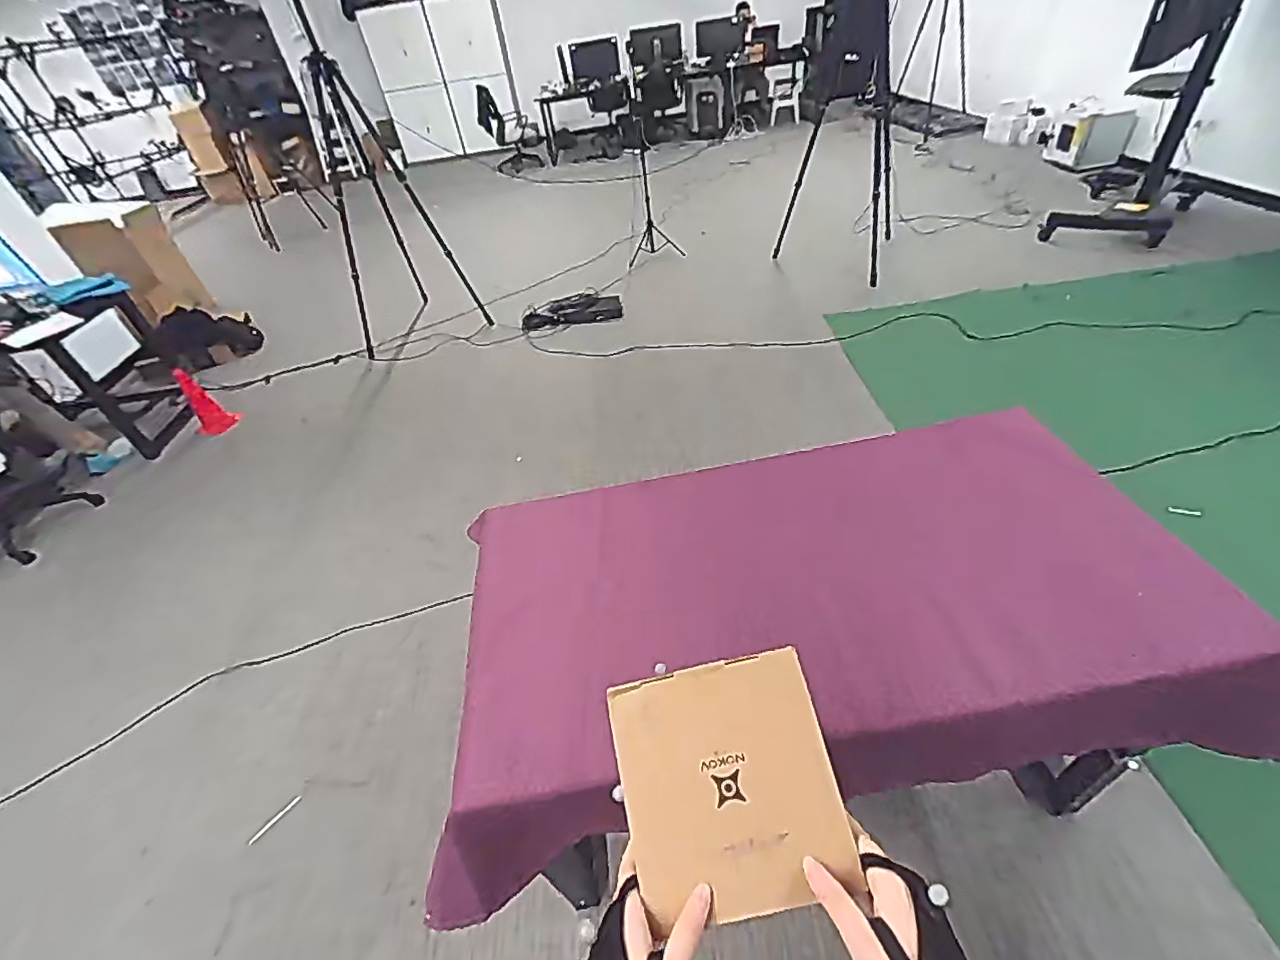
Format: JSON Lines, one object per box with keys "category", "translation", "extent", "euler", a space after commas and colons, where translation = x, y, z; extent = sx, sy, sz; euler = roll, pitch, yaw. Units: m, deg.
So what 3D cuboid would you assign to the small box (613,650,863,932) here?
{"category": "small box", "translation": [0.077, 0.269, 0.501], "extent": [0.168, 0.176, 0.179], "euler": [-12, 67, 2]}
